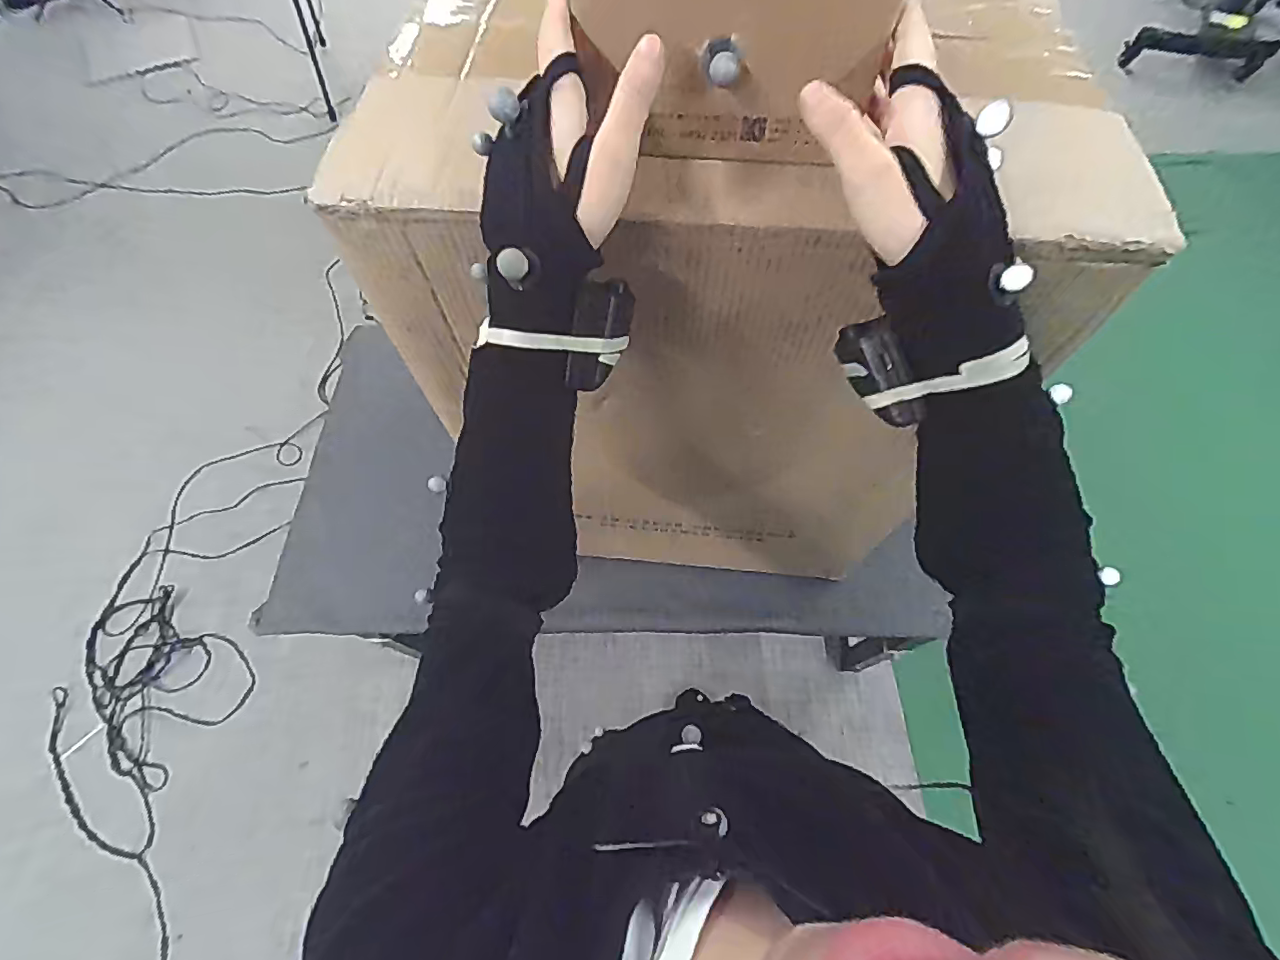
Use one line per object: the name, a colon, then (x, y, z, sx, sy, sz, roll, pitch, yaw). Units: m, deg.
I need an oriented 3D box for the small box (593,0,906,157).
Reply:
small box: (0.062, -0.323, 0.309, 0.168, 0.176, 0.179, 5, 65, 4)
